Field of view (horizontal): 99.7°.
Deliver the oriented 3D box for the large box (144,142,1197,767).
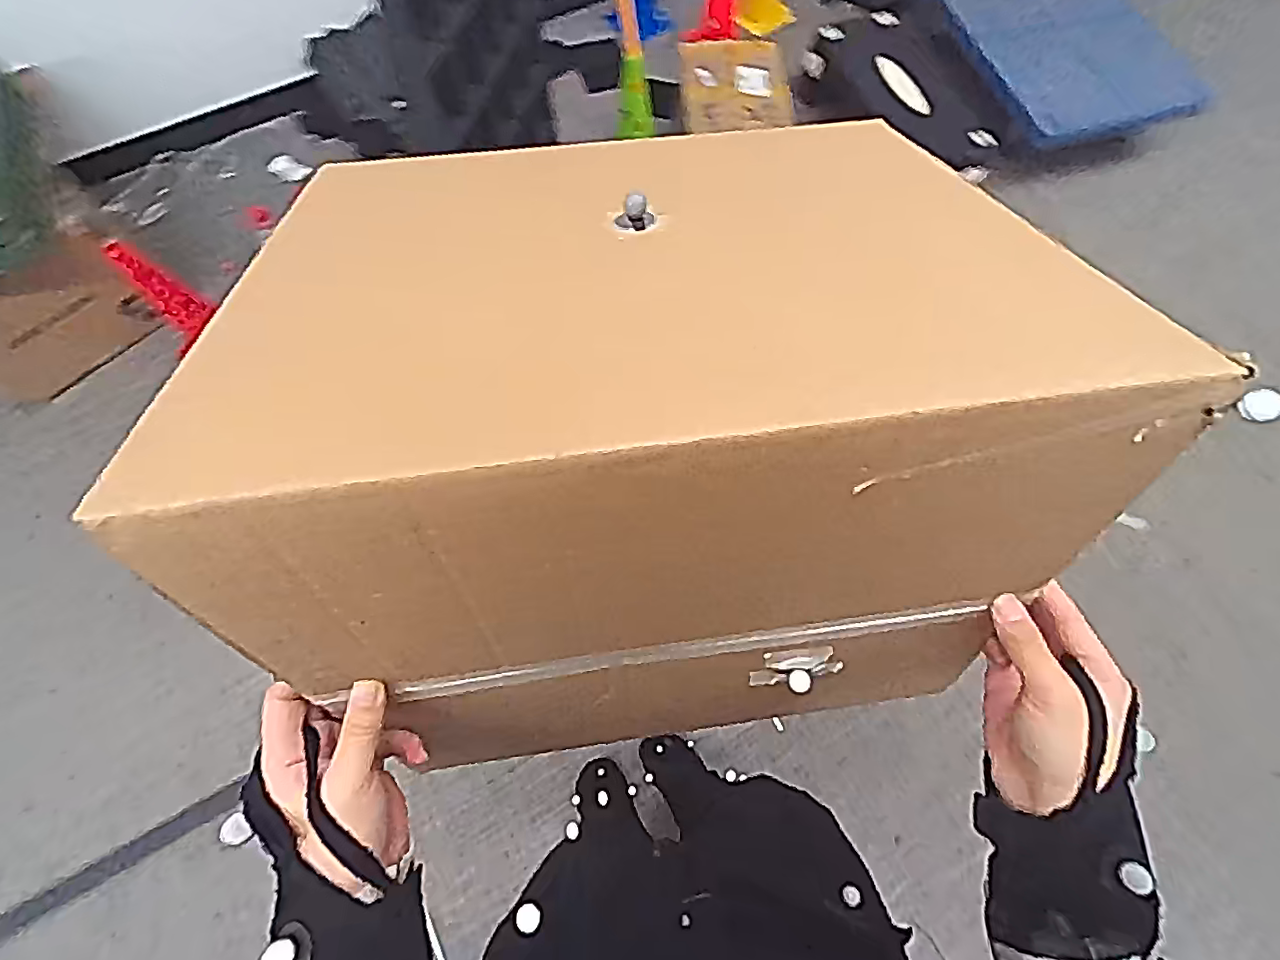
[{"bbox_3d":[0.005,-0.020,0.406,0.408,0.320,0.320,-8,50,-3],"label":"large box"}]
